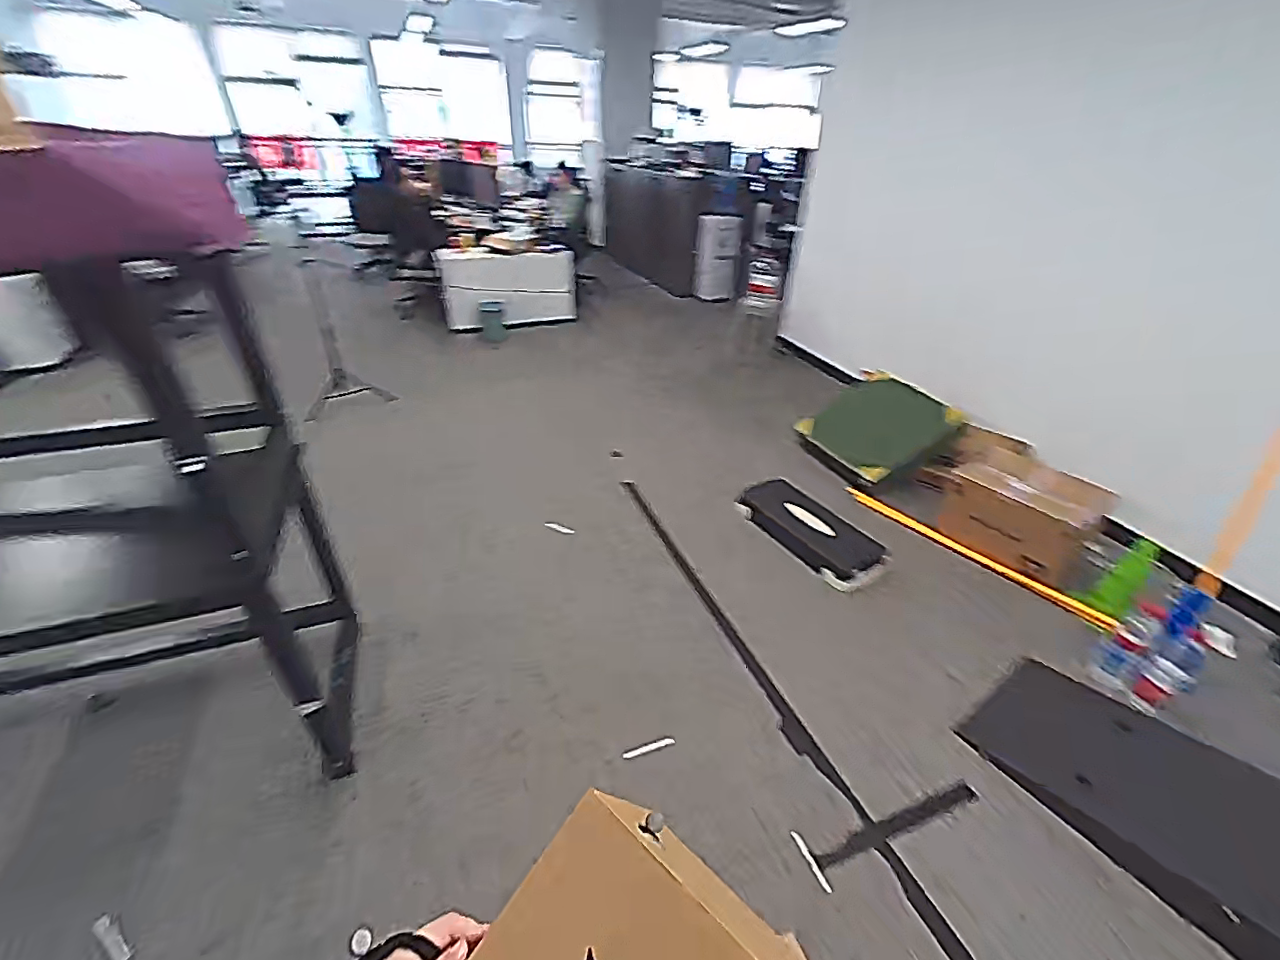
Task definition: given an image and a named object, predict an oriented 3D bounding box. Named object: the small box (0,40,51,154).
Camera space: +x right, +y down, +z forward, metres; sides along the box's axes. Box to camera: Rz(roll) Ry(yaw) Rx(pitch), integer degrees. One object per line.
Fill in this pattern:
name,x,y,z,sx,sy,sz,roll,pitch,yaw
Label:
small box,-0.922,-0.506,0.676,0.179,0.176,0.168,-8,33,-13
